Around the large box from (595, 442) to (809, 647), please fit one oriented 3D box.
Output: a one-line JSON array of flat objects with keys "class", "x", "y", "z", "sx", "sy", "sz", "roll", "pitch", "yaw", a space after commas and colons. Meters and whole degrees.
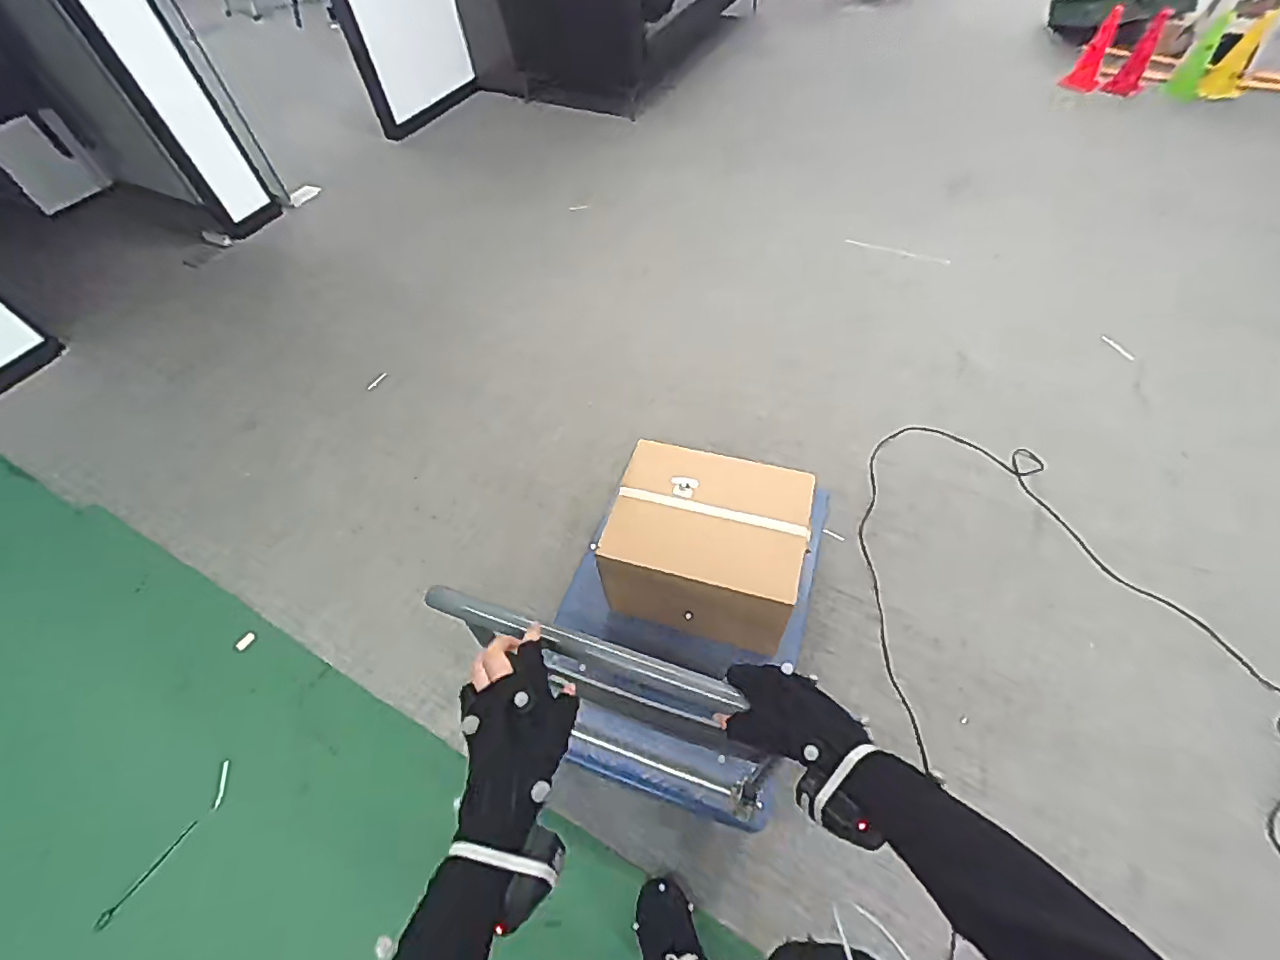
[{"class": "large box", "x": 0.151, "y": 0.154, "z": 1.258, "sx": 0.408, "sy": 0.320, "sz": 0.320, "roll": 12, "pitch": 56, "yaw": 13}]
